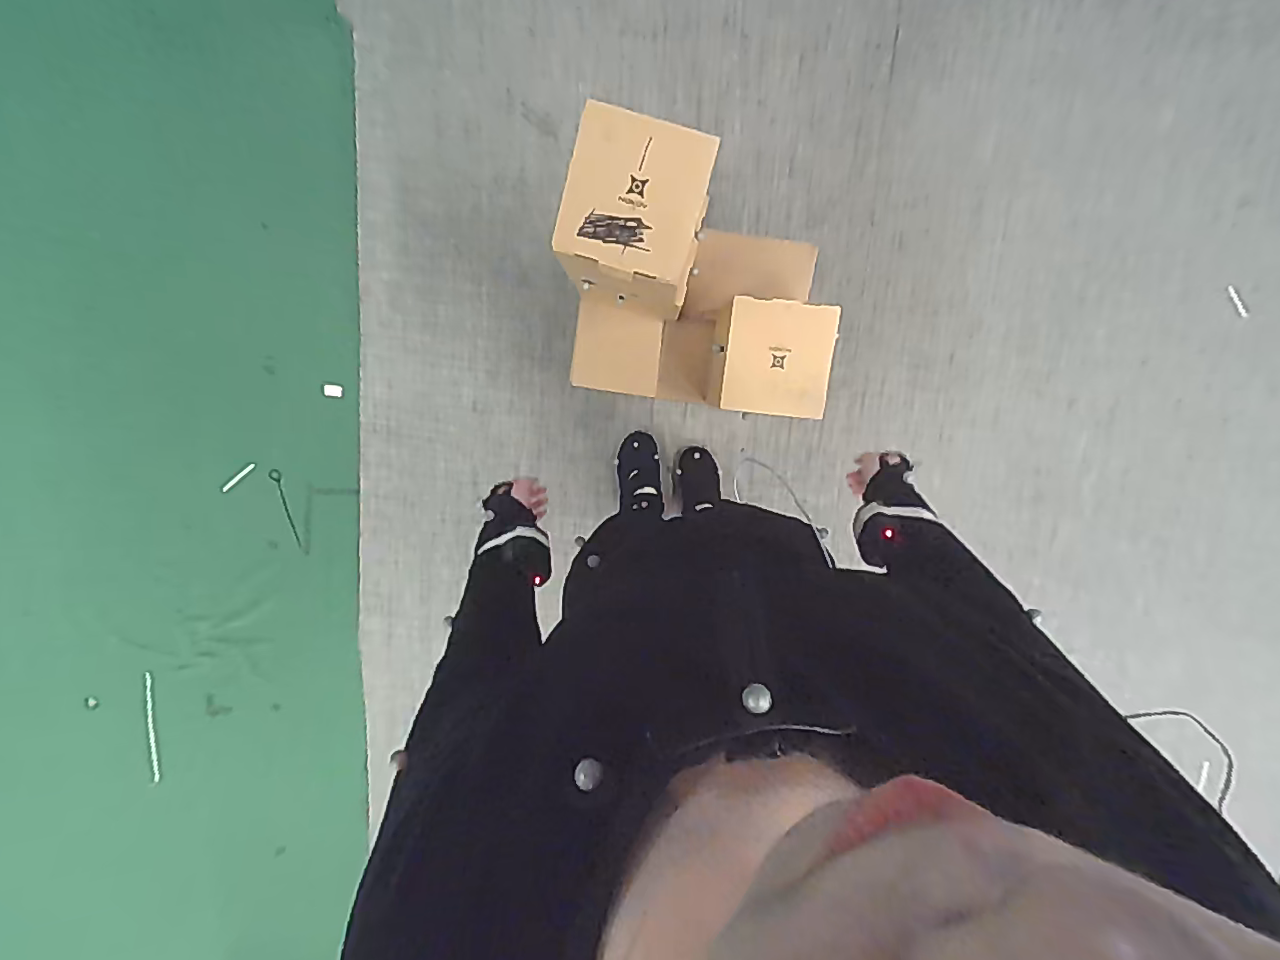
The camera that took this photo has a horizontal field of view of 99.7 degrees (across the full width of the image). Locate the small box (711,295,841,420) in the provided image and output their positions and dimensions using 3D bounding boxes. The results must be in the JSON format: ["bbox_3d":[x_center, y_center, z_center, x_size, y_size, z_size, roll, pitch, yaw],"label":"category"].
[{"bbox_3d":[0.216,-0.199,0.909,0.168,0.176,0.179,6,99,0],"label":"small box"}]

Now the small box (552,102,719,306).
[{"bbox_3d":[-0.005,-0.349,0.724,0.168,0.176,0.179,16,97,-2],"label":"small box"}]

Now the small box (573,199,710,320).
[{"bbox_3d":[0.002,-0.371,0.888,0.179,0.176,0.168,14,99,-2],"label":"small box"}]
